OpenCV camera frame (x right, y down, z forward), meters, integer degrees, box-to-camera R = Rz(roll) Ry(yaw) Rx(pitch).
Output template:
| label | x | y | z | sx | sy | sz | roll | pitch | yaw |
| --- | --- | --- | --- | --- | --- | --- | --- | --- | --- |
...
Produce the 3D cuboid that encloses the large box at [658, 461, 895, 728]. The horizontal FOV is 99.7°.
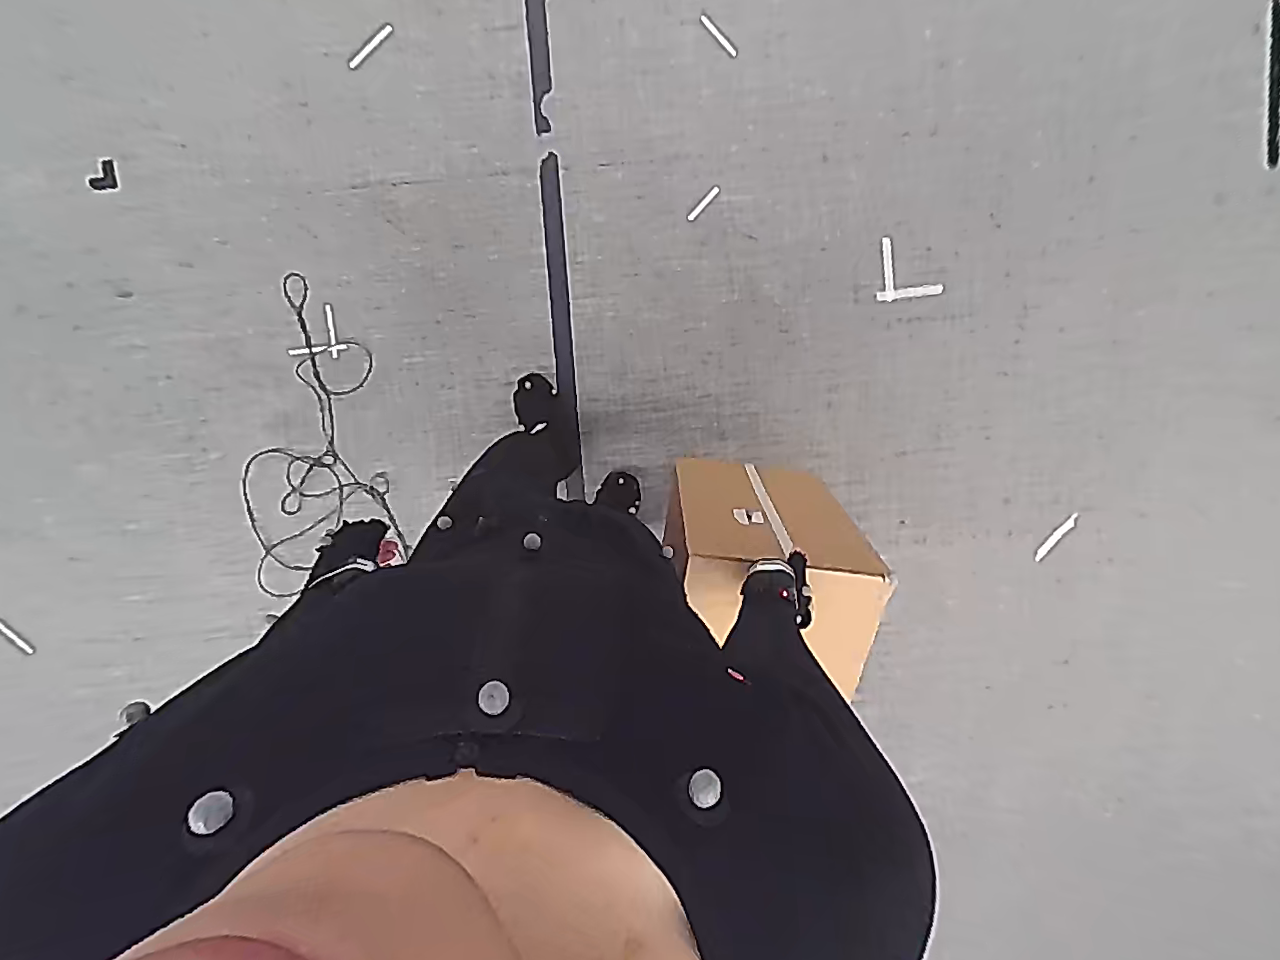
| label | x | y | z | sx | sy | sz | roll | pitch | yaw |
| --- | --- | --- | --- | --- | --- | --- | --- | --- | --- |
| large box | 0.213 | 0.194 | 1.043 | 0.320 | 0.408 | 0.320 | 7 | 114 | -2 |
